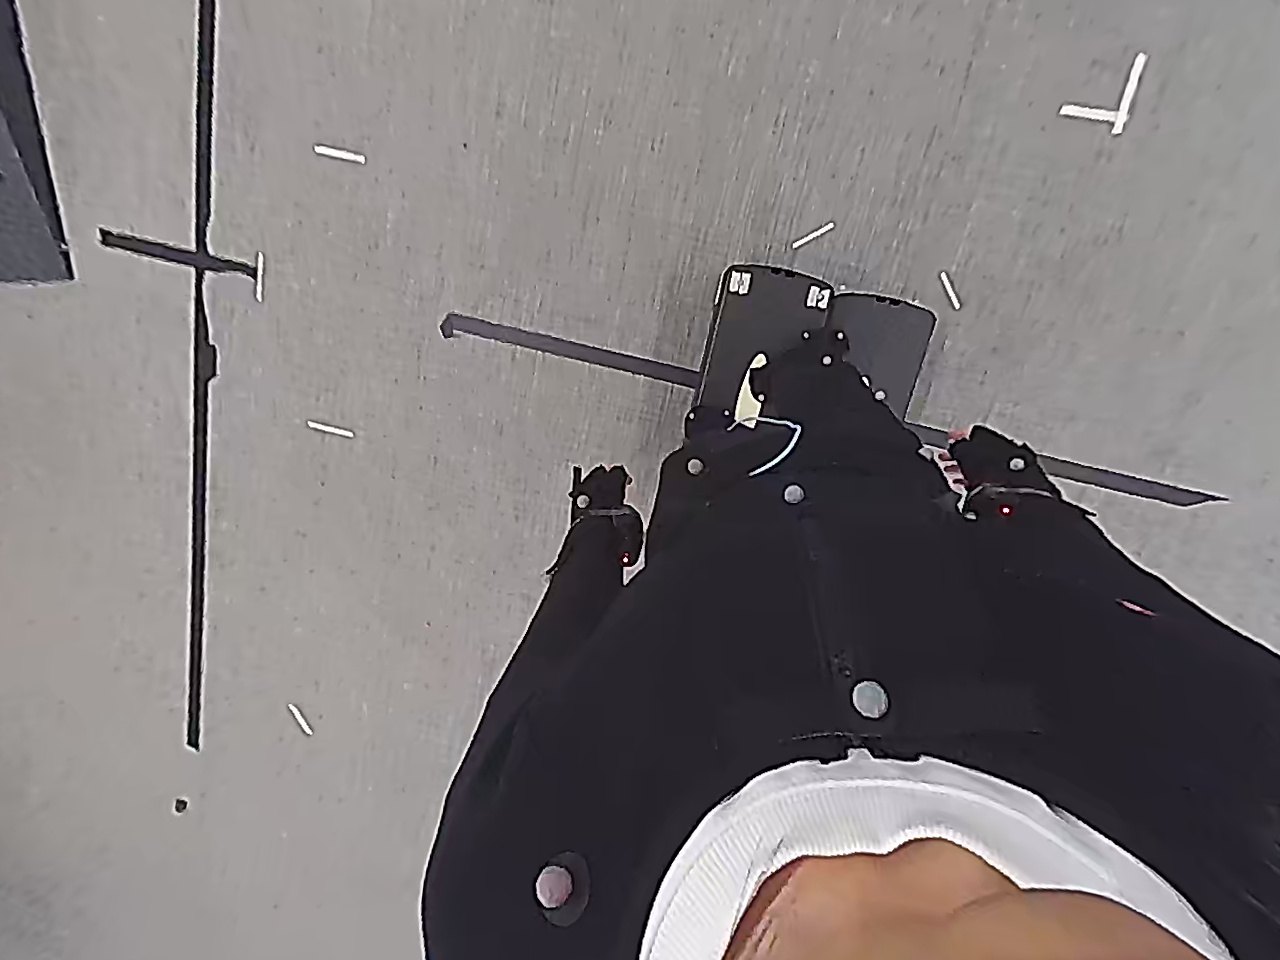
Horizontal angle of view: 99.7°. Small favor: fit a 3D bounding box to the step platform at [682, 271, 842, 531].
[{"bbox_3d":[0.317,-0.204,1.479,0.286,0.204,0.684,12,102,3],"label":"step platform"}]
